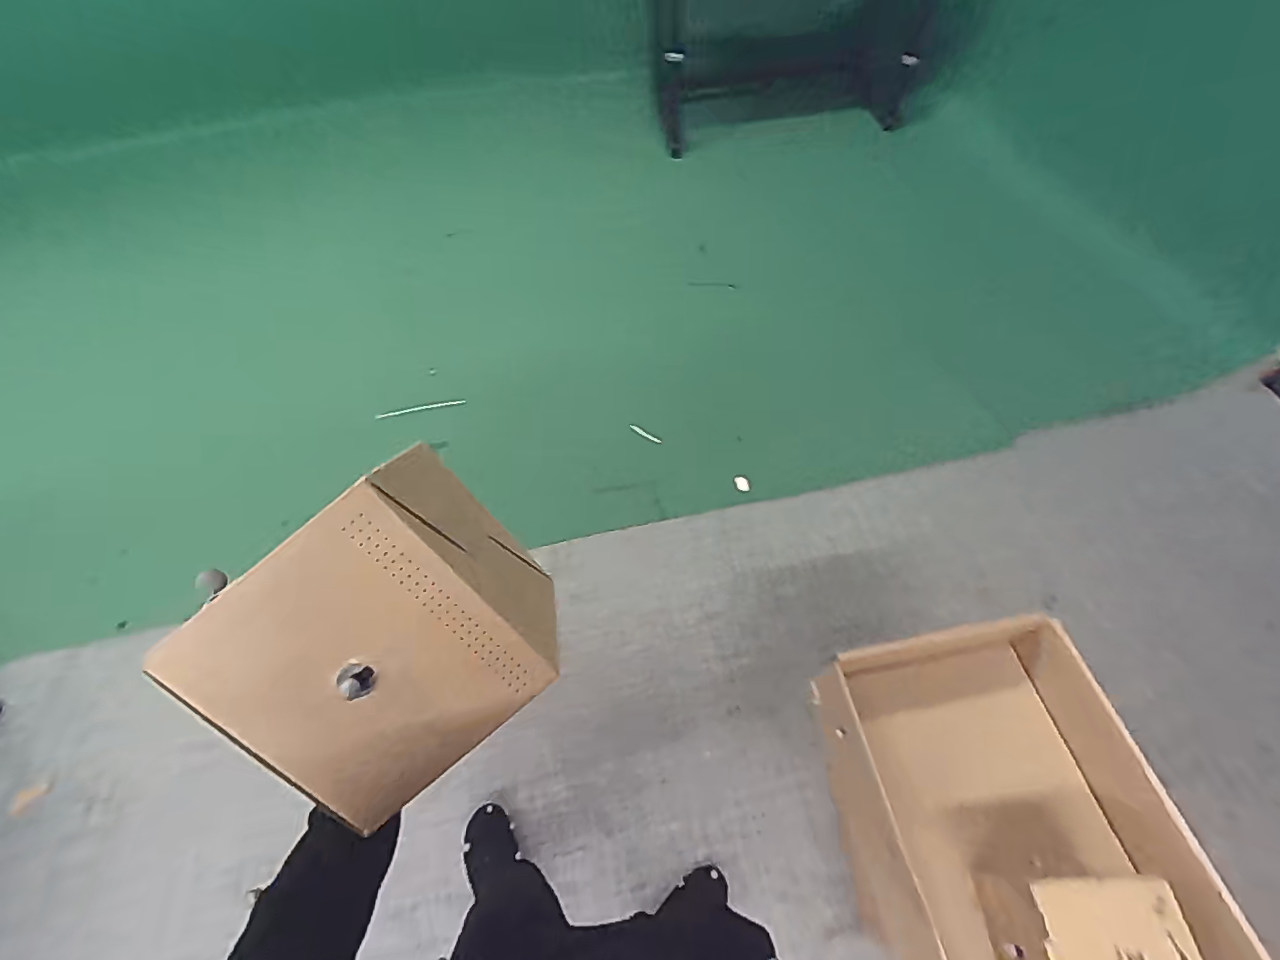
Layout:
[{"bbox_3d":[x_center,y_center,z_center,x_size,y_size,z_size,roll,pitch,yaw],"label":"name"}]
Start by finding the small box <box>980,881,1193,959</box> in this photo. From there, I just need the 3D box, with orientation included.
[{"bbox_3d":[0.585,0.638,0.713,0.179,0.176,0.168,-2,56,3],"label":"small box"}]
